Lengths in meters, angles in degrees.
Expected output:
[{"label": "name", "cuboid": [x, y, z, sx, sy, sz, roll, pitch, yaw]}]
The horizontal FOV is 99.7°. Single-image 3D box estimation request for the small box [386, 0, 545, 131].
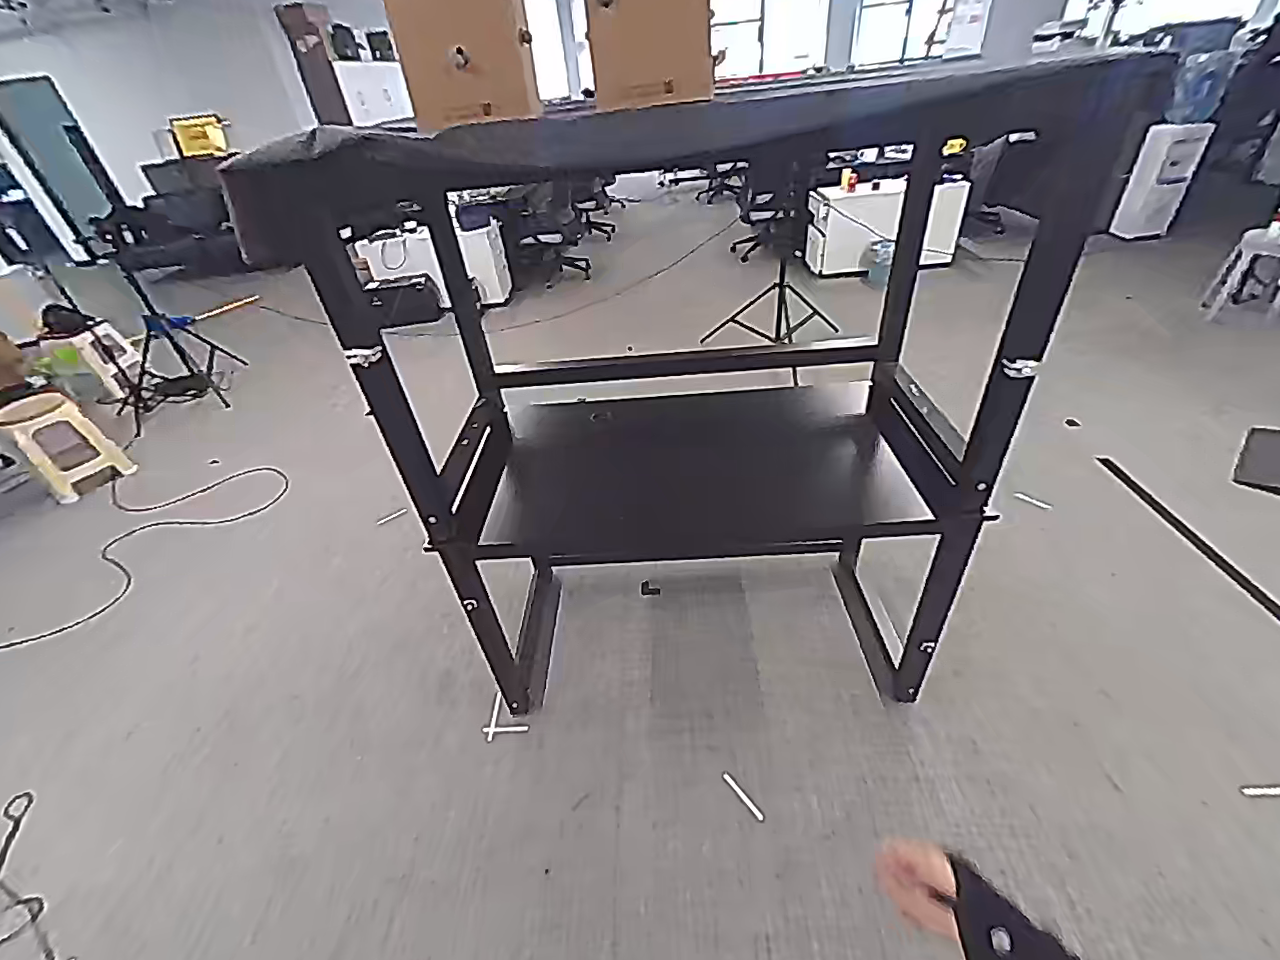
[{"label": "small box", "cuboid": [-0.238, -0.615, 0.785, 0.168, 0.176, 0.179, -5, 36, 0]}]
